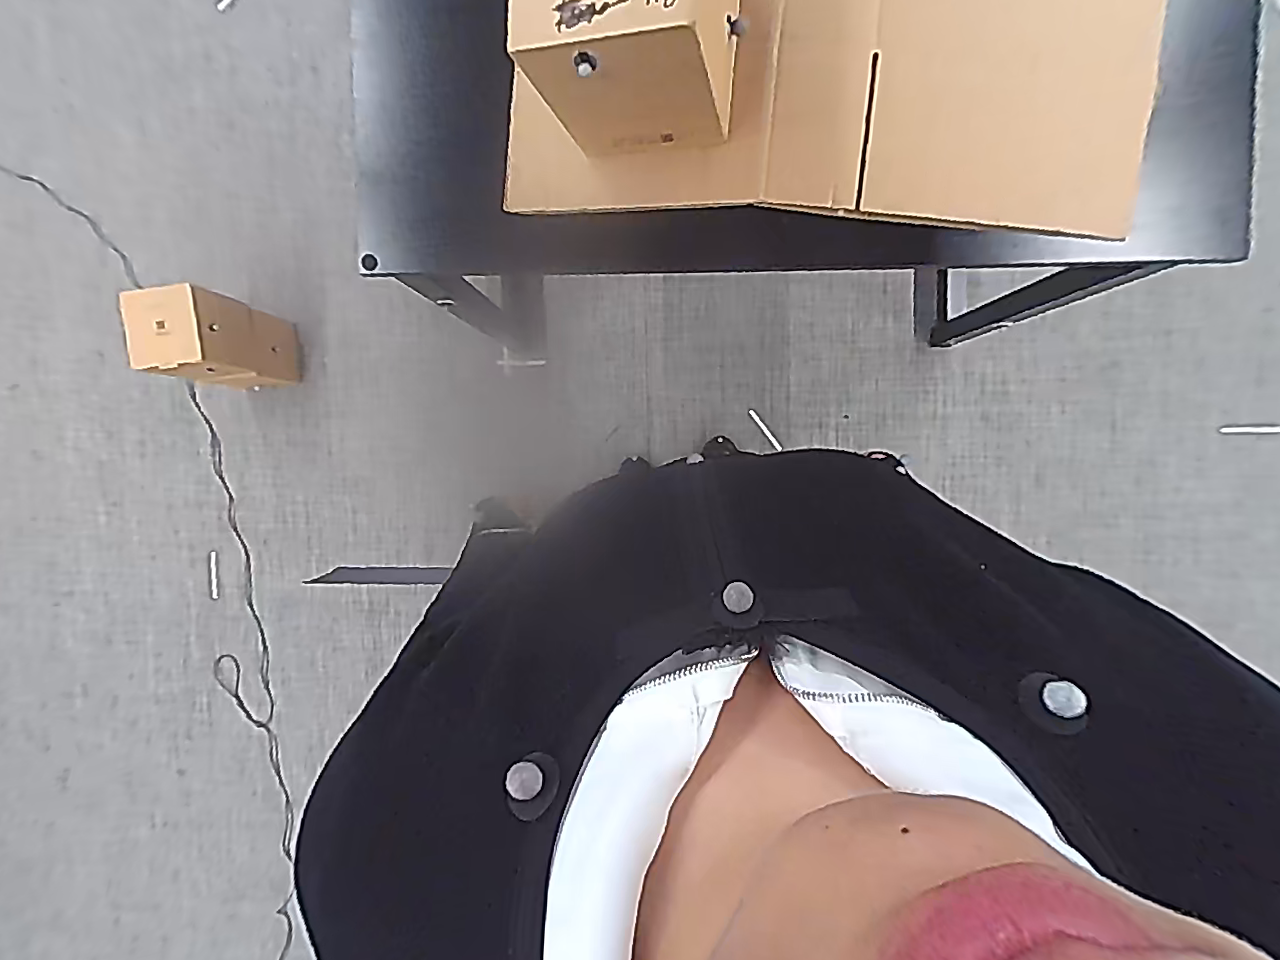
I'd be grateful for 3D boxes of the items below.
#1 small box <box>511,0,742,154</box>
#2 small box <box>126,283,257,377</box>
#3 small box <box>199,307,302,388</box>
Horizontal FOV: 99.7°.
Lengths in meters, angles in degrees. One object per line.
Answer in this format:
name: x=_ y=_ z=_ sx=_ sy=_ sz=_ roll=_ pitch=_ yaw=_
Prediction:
small box: x=0.000 y=-0.445 z=0.510 sx=0.168 sy=0.176 sz=0.179 roll=6 pitch=93 yaw=18
small box: x=-1.047 y=-0.345 z=1.278 sx=0.168 sy=0.176 sz=0.179 roll=-7 pitch=92 yaw=2
small box: x=-1.039 y=-0.348 z=1.441 sx=0.168 sy=0.176 sz=0.179 roll=-4 pitch=94 yaw=3
